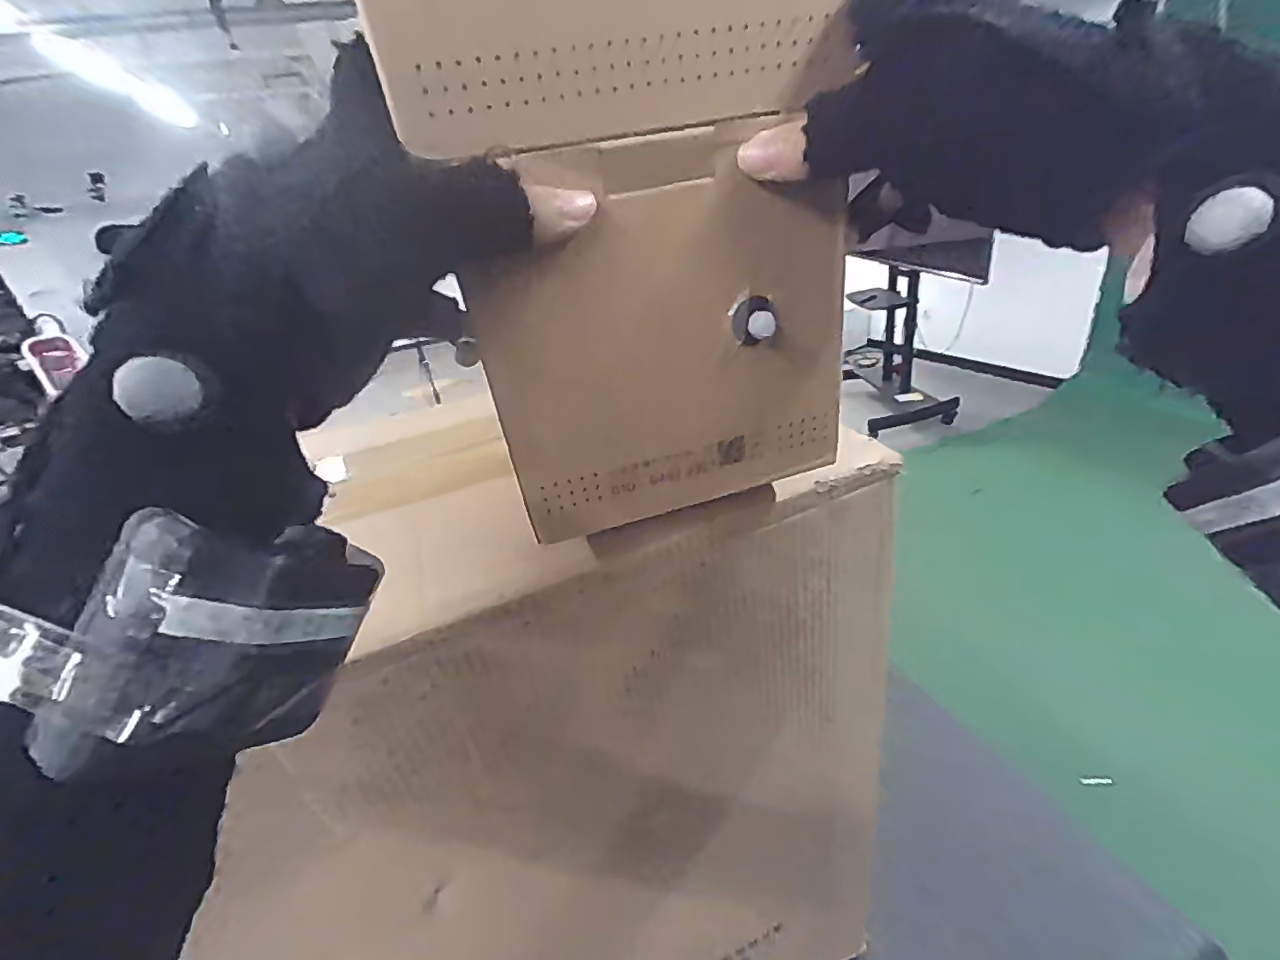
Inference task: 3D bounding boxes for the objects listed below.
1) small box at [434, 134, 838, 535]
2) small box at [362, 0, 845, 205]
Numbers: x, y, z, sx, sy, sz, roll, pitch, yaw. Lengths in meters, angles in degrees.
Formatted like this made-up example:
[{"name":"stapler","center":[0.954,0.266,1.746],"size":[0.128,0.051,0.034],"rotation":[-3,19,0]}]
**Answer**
[{"name":"small box","center":[-0.005,-0.084,0.315],"size":[0.168,0.176,0.179],"rotation":[-14,30,-9]},{"name":"small box","center":[-0.026,-0.223,0.229],"size":[0.179,0.176,0.168],"rotation":[-15,32,-13]}]
